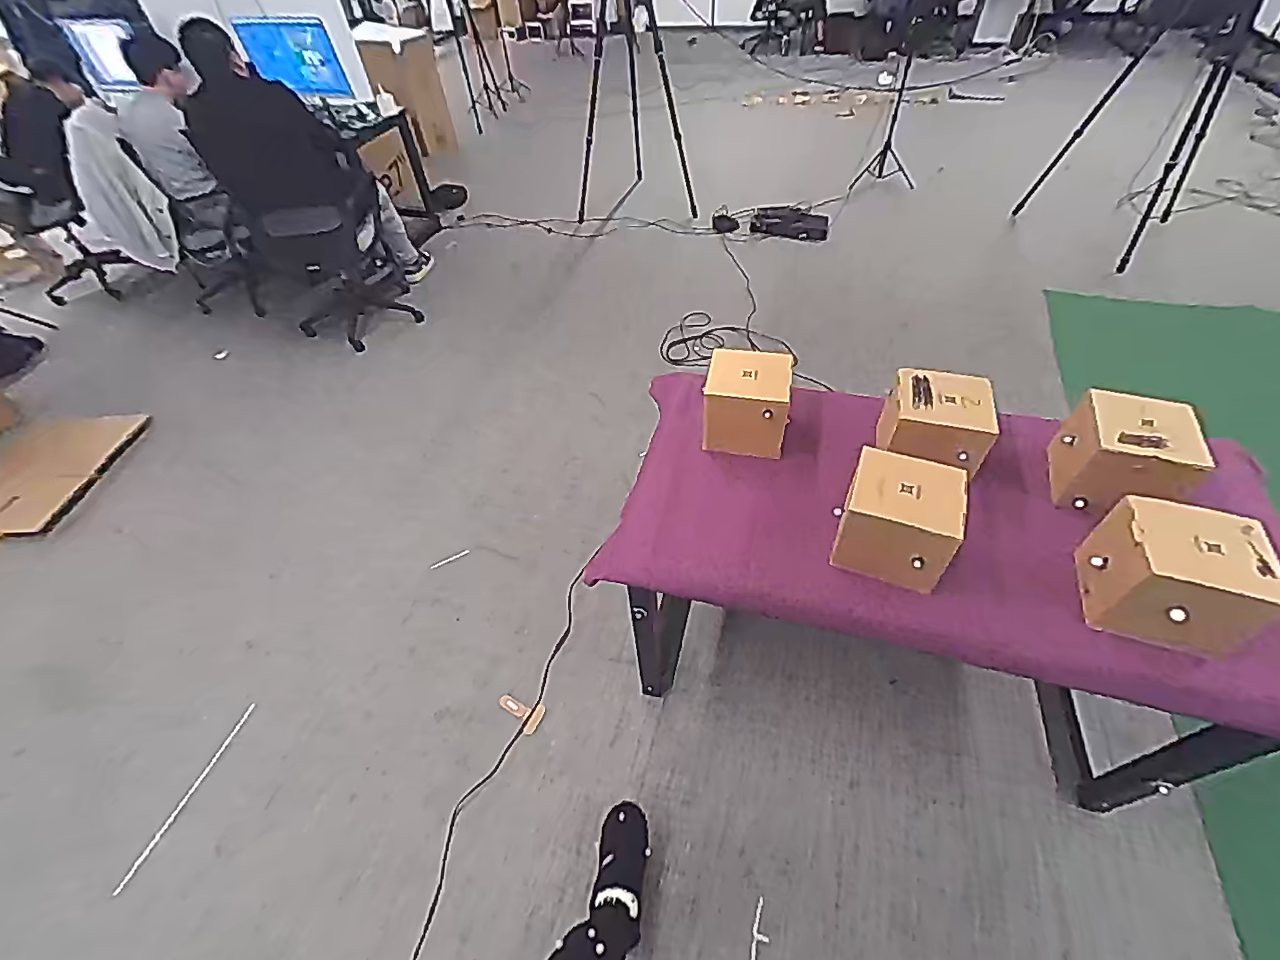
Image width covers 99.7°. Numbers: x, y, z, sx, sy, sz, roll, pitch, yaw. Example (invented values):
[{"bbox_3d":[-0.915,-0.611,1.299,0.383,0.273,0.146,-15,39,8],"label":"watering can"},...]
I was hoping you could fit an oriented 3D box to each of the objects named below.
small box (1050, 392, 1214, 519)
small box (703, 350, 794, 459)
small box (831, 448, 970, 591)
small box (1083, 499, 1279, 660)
[{"bbox_3d":[0.920,-0.037,1.033,0.168,0.176,0.179,15,50,17],"label":"small box"},{"bbox_3d":[0.238,-0.166,1.200,0.179,0.176,0.168,8,49,10],"label":"small box"},{"bbox_3d":[0.460,0.075,0.967,0.179,0.176,0.168,17,50,19],"label":"small box"},{"bbox_3d":[0.846,0.160,0.861,0.179,0.176,0.168,14,50,17],"label":"small box"}]
